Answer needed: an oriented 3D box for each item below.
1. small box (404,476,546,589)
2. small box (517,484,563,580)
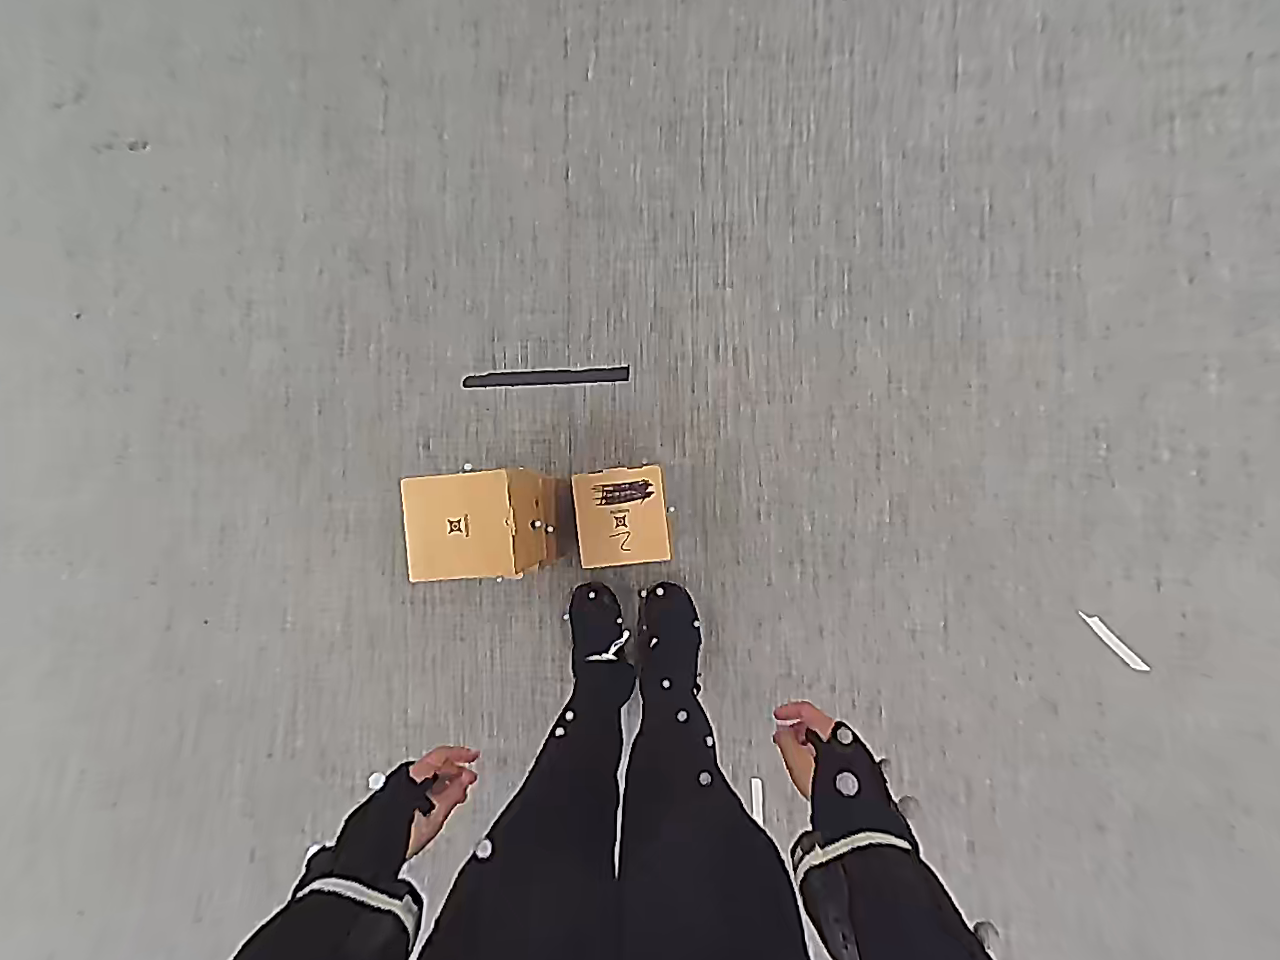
[{"bbox_3d":[-0.272,0.085,0.918,0.179,0.176,0.168,-6,89,4],"label":"small box"},{"bbox_3d":[-0.253,0.095,1.079,0.168,0.176,0.179,1,89,5],"label":"small box"}]
